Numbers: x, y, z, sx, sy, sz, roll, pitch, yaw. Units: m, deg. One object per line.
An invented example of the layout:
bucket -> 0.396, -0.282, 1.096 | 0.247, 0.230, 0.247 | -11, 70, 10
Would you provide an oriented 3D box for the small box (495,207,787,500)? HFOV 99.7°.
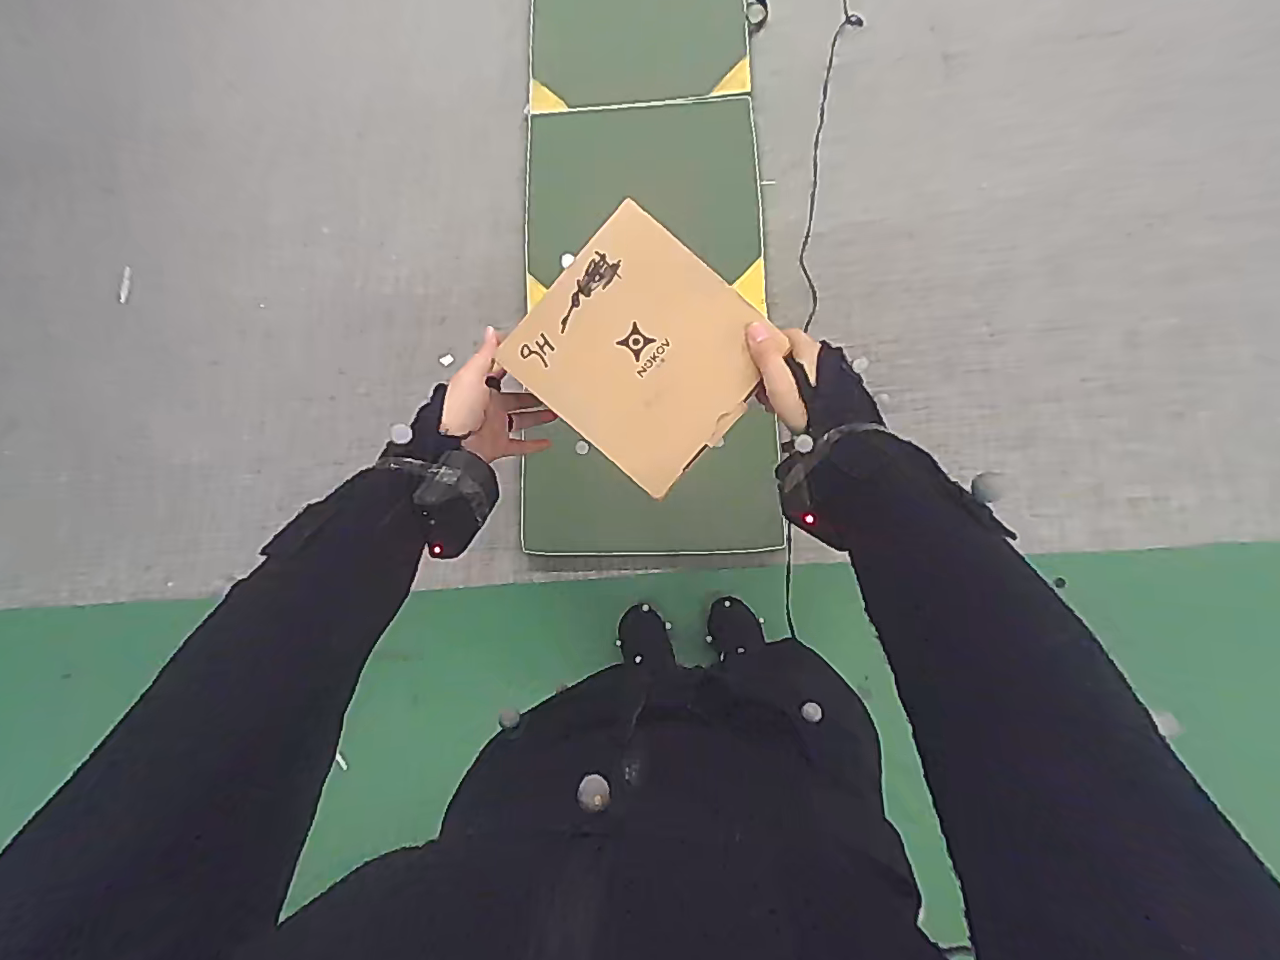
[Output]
small box -> 0.000, -0.103, 0.507 | 0.179, 0.176, 0.168 | 41, 90, -2
